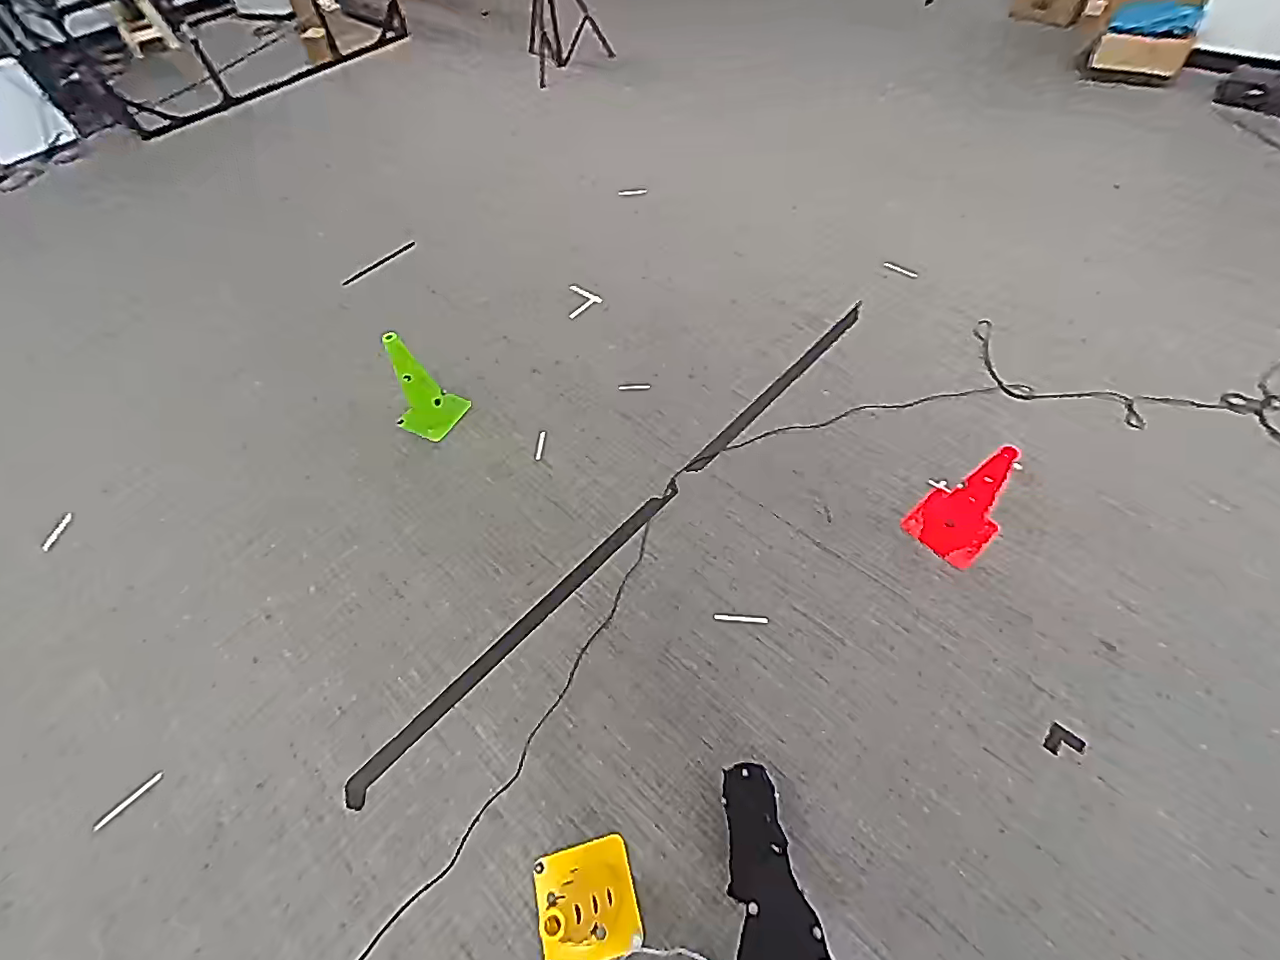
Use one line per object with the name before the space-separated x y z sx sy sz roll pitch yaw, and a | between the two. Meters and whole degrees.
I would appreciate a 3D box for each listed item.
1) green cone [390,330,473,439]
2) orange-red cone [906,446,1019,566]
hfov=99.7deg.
green cone | -0.731 -0.339 1.785 0.200 0.368 0.202 22 59 18
orange-red cone | 0.866 0.035 1.381 0.199 0.360 0.198 -36 60 -17
